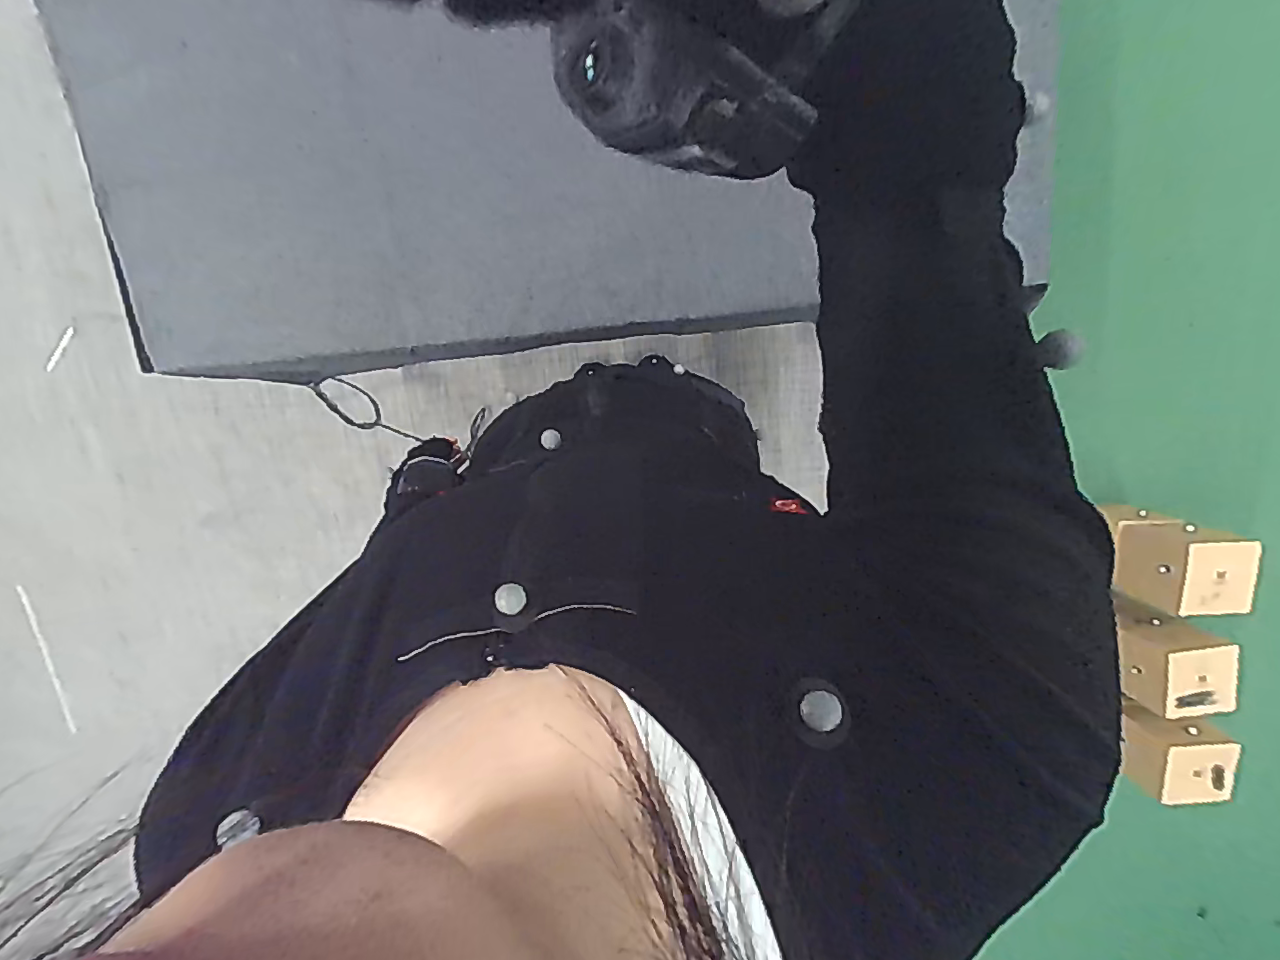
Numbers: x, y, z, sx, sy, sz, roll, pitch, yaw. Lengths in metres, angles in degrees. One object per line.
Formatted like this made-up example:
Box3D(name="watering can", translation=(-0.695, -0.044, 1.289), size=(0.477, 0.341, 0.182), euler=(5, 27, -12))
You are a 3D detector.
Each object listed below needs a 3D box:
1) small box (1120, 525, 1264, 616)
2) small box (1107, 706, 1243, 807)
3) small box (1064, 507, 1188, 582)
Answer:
Box3D(name="small box", translation=(1.308, 0.209, 1.294), size=(0.168, 0.176, 0.179), euler=(-1, 101, 0))
Box3D(name="small box", translation=(1.368, 0.705, 1.393), size=(0.179, 0.176, 0.168), euler=(-4, 102, 0))
Box3D(name="small box", translation=(1.295, 0.170, 1.455), size=(0.179, 0.176, 0.168), euler=(0, 101, -1))
